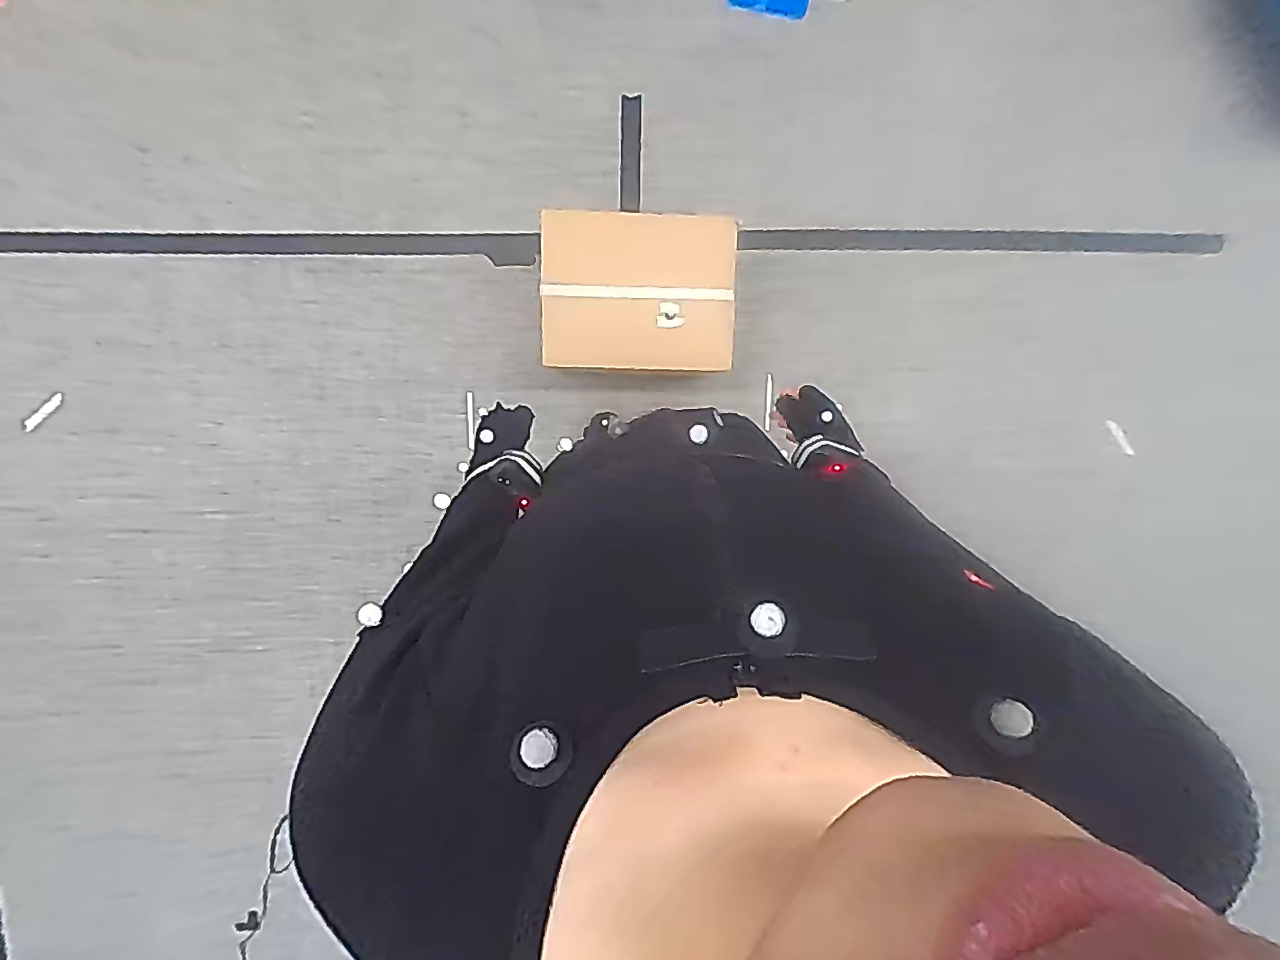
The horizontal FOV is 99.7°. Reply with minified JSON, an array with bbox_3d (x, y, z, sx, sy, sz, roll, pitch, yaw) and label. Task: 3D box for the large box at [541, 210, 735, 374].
[{"bbox_3d":[-0.013,-0.416,1.273,0.408,0.320,0.320,0,99,-4],"label":"large box"}]
